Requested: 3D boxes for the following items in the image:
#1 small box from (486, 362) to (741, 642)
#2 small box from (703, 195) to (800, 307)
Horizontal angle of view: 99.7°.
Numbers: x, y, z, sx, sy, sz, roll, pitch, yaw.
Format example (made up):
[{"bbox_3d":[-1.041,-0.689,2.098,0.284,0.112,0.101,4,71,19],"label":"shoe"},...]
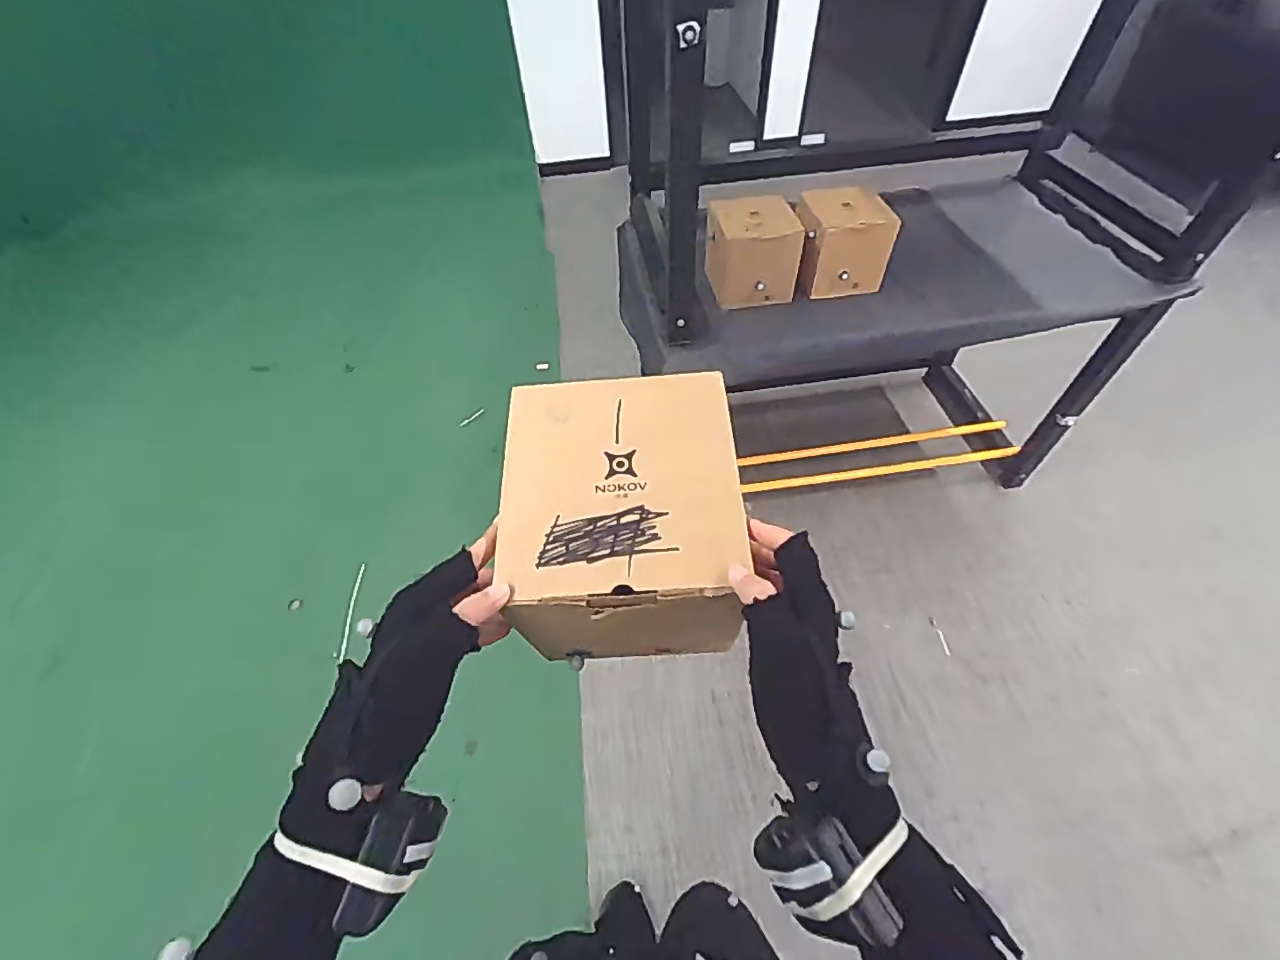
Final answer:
[{"bbox_3d":[-0.013,0.030,0.446,0.168,0.176,0.179,-4,59,2],"label":"small box"},{"bbox_3d":[0.240,-0.513,1.216,0.168,0.176,0.179,-8,51,-3],"label":"small box"}]
